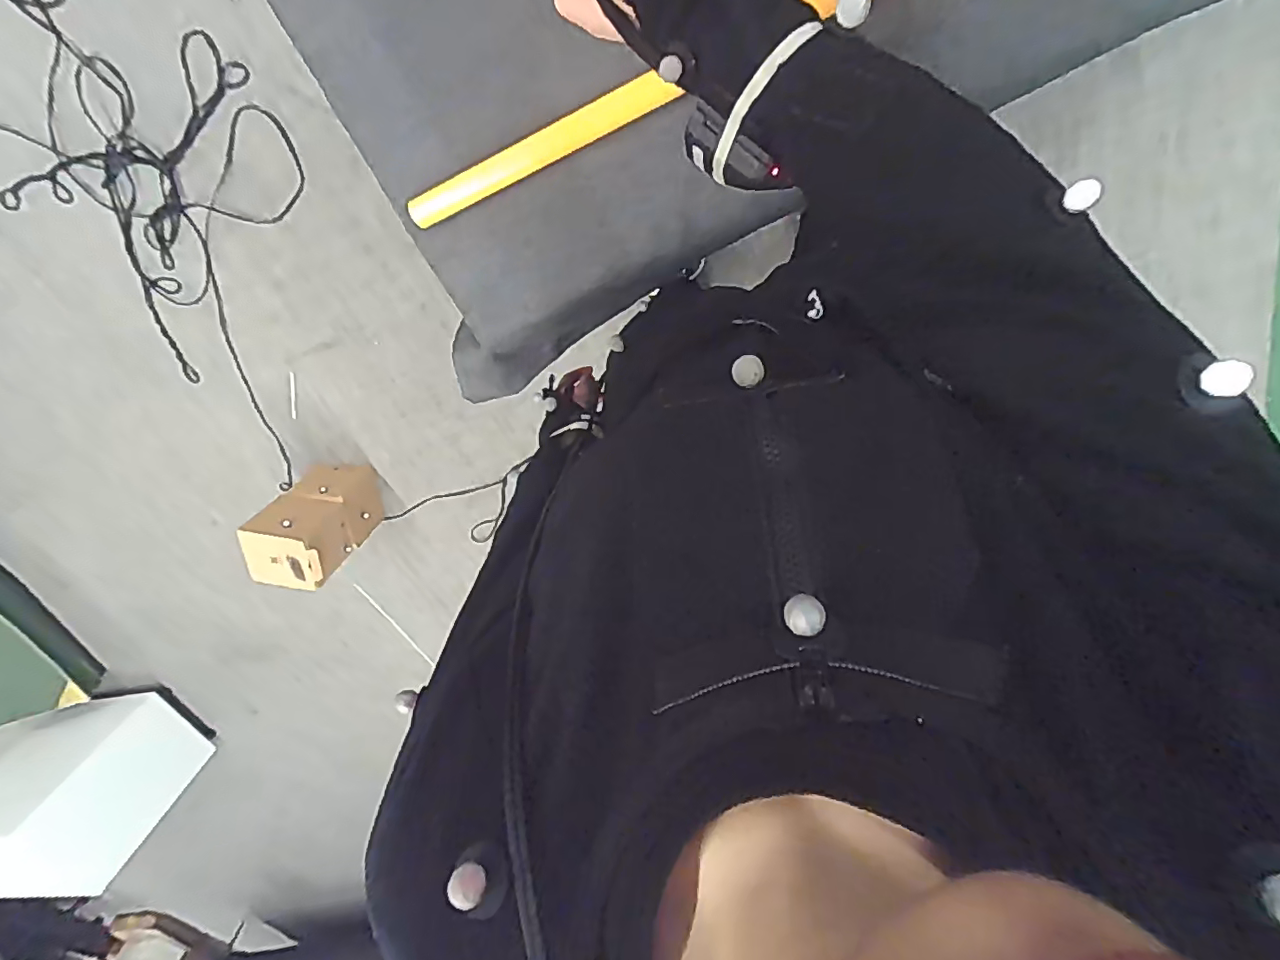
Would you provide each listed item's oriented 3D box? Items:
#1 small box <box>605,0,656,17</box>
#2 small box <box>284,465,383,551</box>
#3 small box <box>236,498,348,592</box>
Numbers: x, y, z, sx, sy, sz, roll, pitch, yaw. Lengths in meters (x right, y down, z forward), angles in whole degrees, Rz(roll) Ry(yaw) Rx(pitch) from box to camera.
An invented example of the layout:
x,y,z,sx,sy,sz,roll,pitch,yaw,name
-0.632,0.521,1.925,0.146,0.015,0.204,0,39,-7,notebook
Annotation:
x,y,z,sx,sy,sz,roll,pitch,yaw,name
-0.002,-0.423,0.308,0.168,0.176,0.179,-27,115,20,small box
-0.863,0.078,1.546,0.168,0.176,0.179,4,121,4,small box
-0.890,0.163,1.407,0.179,0.176,0.168,9,120,2,small box
